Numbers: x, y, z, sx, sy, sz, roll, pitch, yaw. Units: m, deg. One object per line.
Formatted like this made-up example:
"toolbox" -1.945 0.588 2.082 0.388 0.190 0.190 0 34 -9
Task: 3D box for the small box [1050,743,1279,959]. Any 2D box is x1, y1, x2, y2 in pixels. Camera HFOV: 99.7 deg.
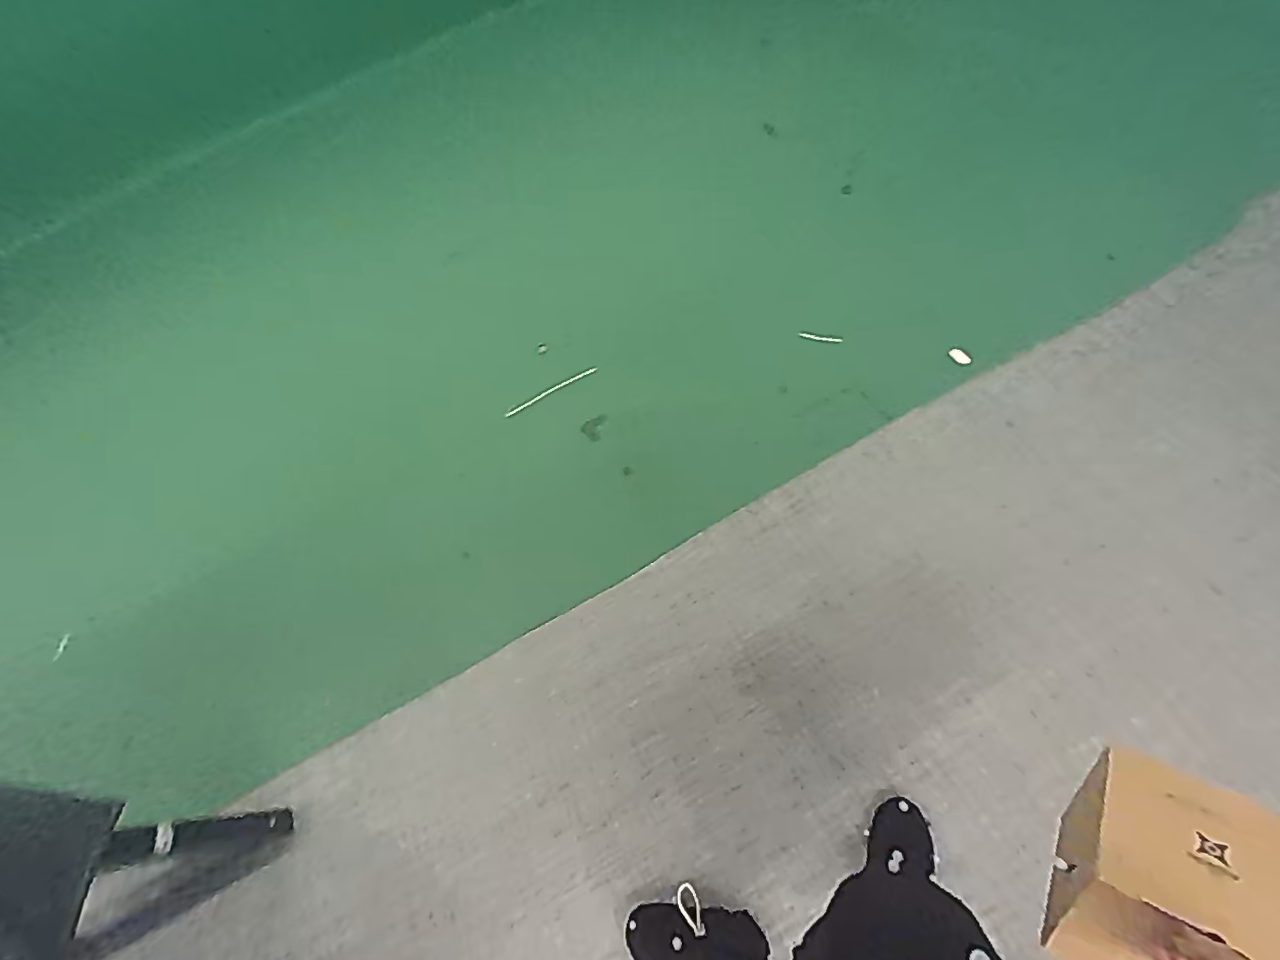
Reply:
"small box" 0.538 0.418 0.536 0.168 0.176 0.179 22 38 34
